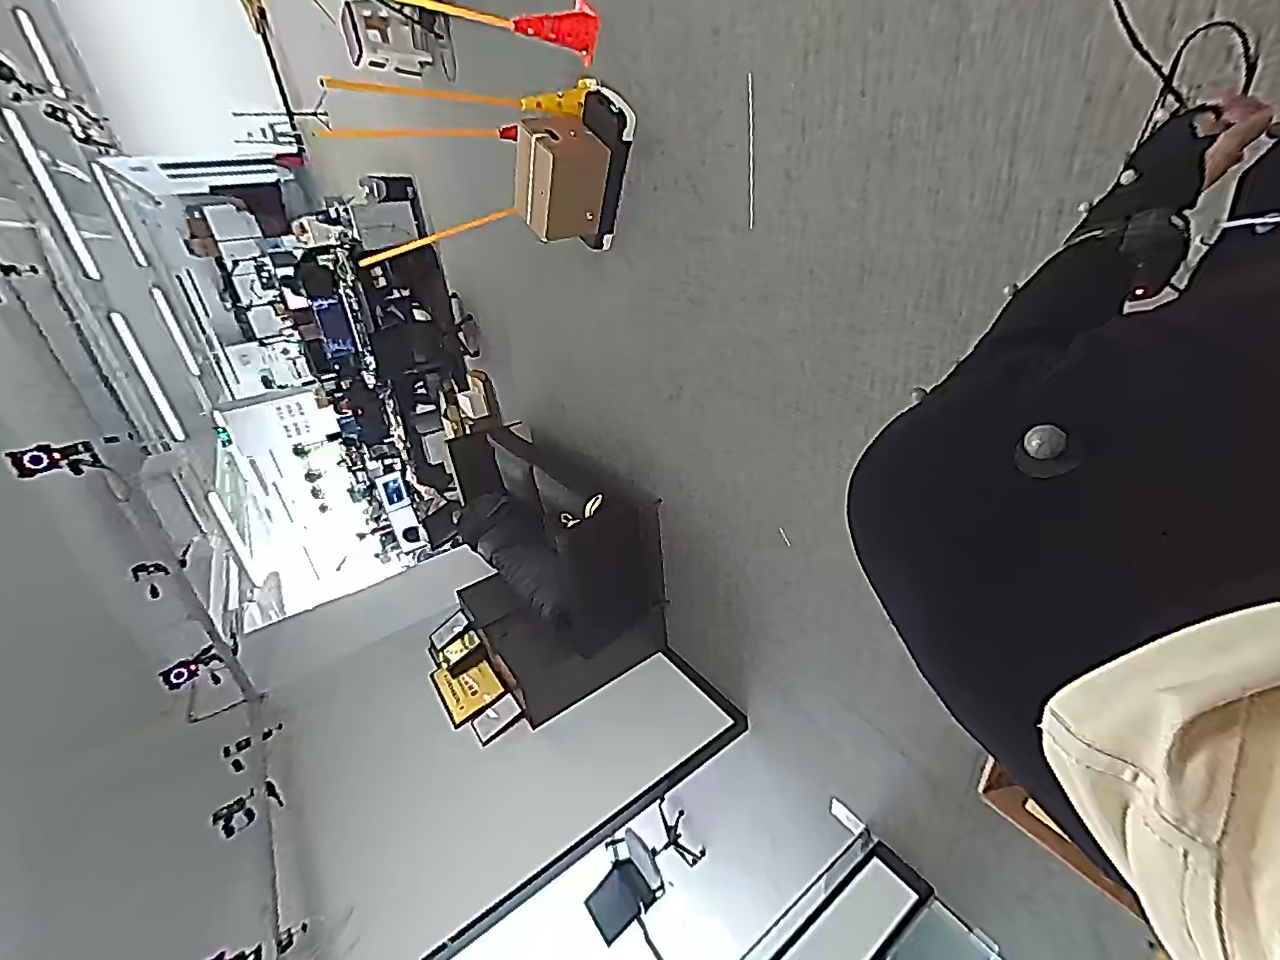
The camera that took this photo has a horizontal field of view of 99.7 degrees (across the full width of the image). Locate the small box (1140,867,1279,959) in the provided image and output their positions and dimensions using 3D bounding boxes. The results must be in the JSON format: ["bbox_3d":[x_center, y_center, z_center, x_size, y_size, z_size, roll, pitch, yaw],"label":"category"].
[{"bbox_3d":[1.012,0.824,0.924,0.168,0.176,0.179,31,136,47],"label":"small box"}]
